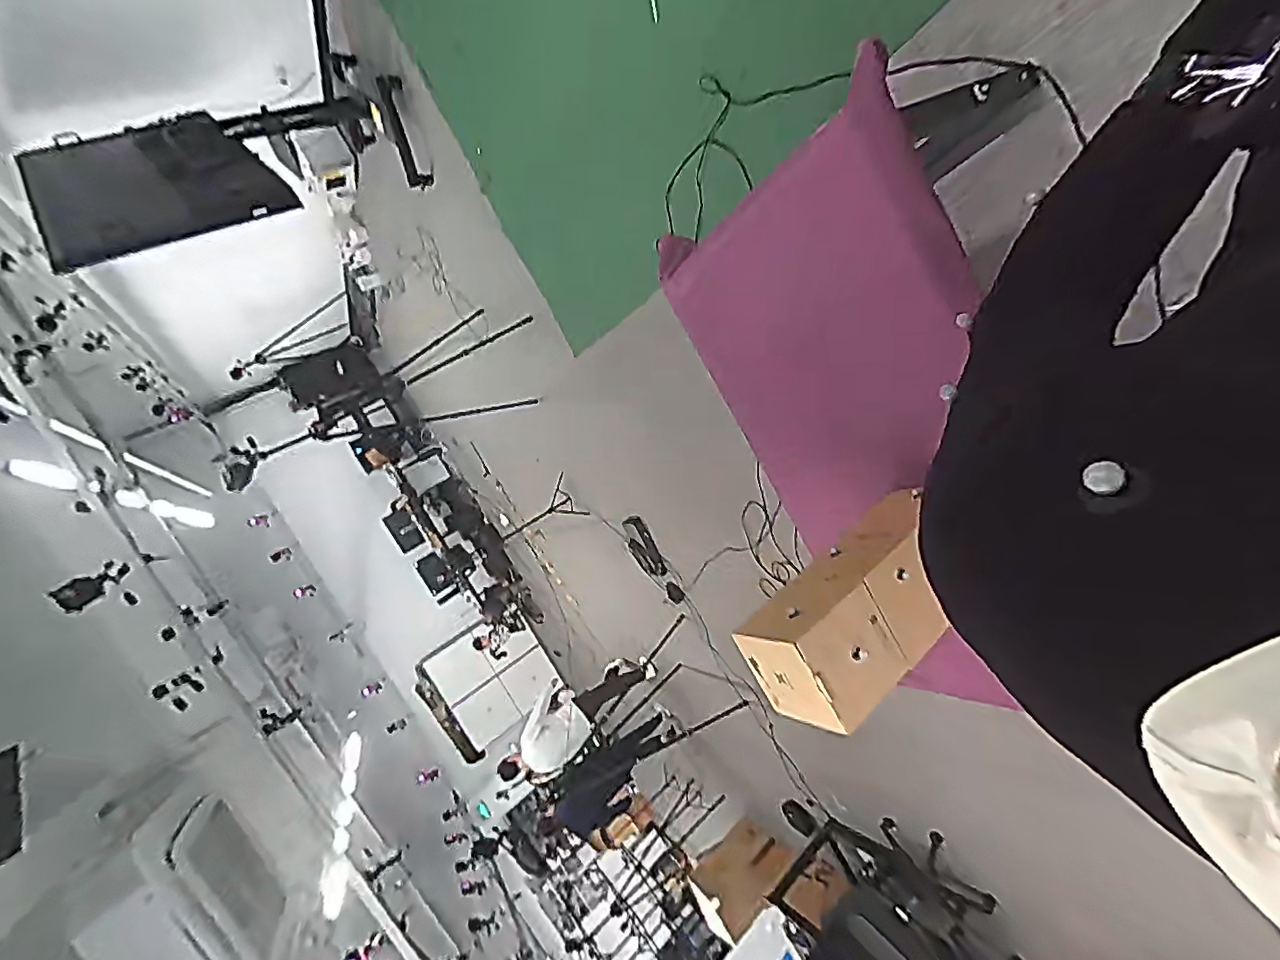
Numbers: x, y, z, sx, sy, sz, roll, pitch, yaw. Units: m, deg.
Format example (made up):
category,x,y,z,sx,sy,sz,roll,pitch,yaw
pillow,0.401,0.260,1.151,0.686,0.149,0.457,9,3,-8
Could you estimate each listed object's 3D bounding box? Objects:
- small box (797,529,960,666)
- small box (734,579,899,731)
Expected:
category,x,y,z,sx,sy,sz,roll,pitch,yaw
small box,0.425,0.198,0.966,0.179,0.176,0.168,60,154,-5
small box,0.298,0.277,0.900,0.168,0.176,0.179,60,154,-3
